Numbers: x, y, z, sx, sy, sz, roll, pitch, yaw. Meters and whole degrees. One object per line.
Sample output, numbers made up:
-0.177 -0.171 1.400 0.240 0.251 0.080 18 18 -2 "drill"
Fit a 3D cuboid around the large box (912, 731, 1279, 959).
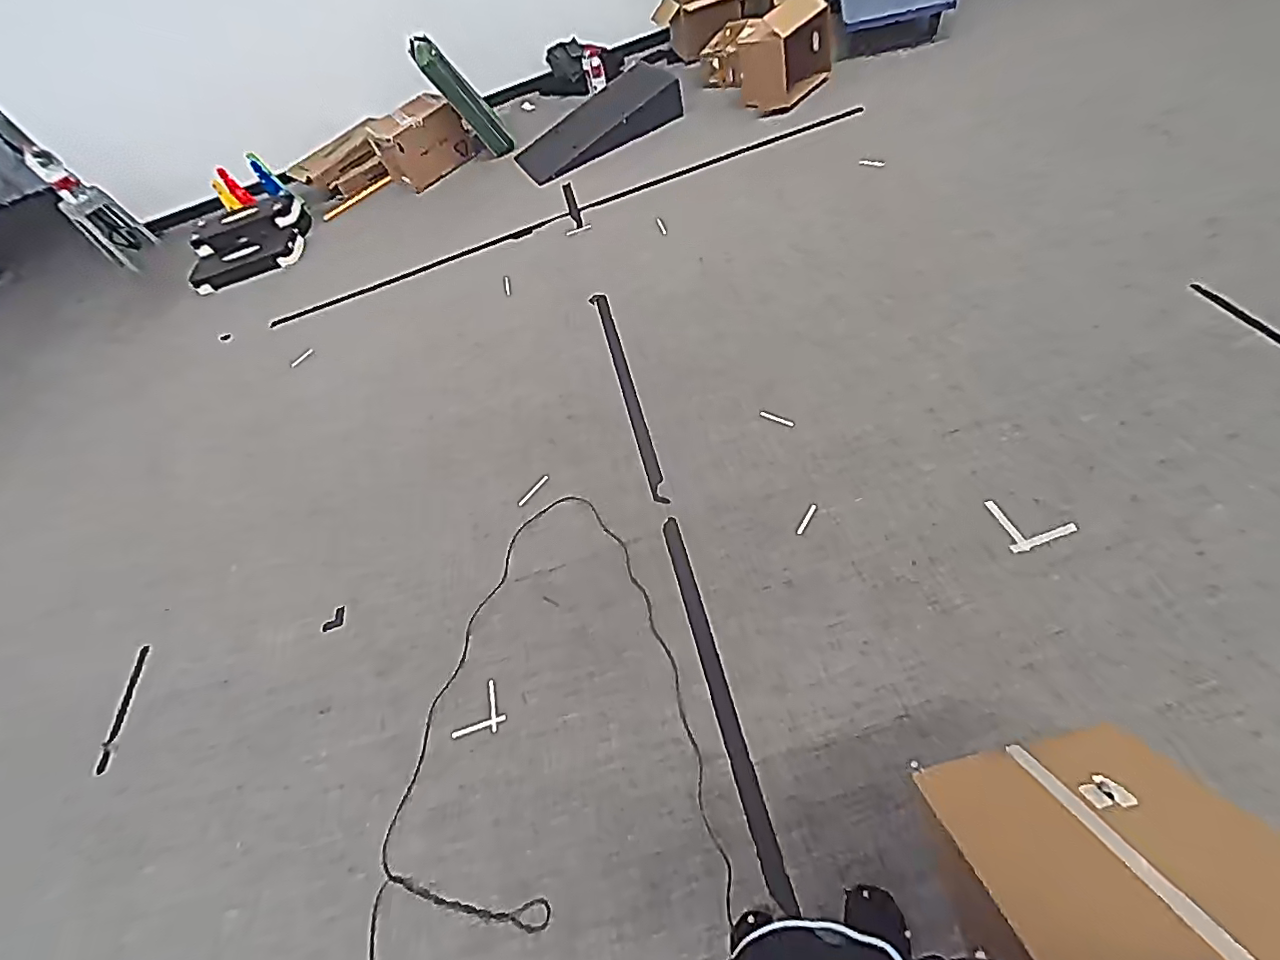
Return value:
0.606 0.582 0.650 0.320 0.408 0.320 -16 91 5 "large box"
